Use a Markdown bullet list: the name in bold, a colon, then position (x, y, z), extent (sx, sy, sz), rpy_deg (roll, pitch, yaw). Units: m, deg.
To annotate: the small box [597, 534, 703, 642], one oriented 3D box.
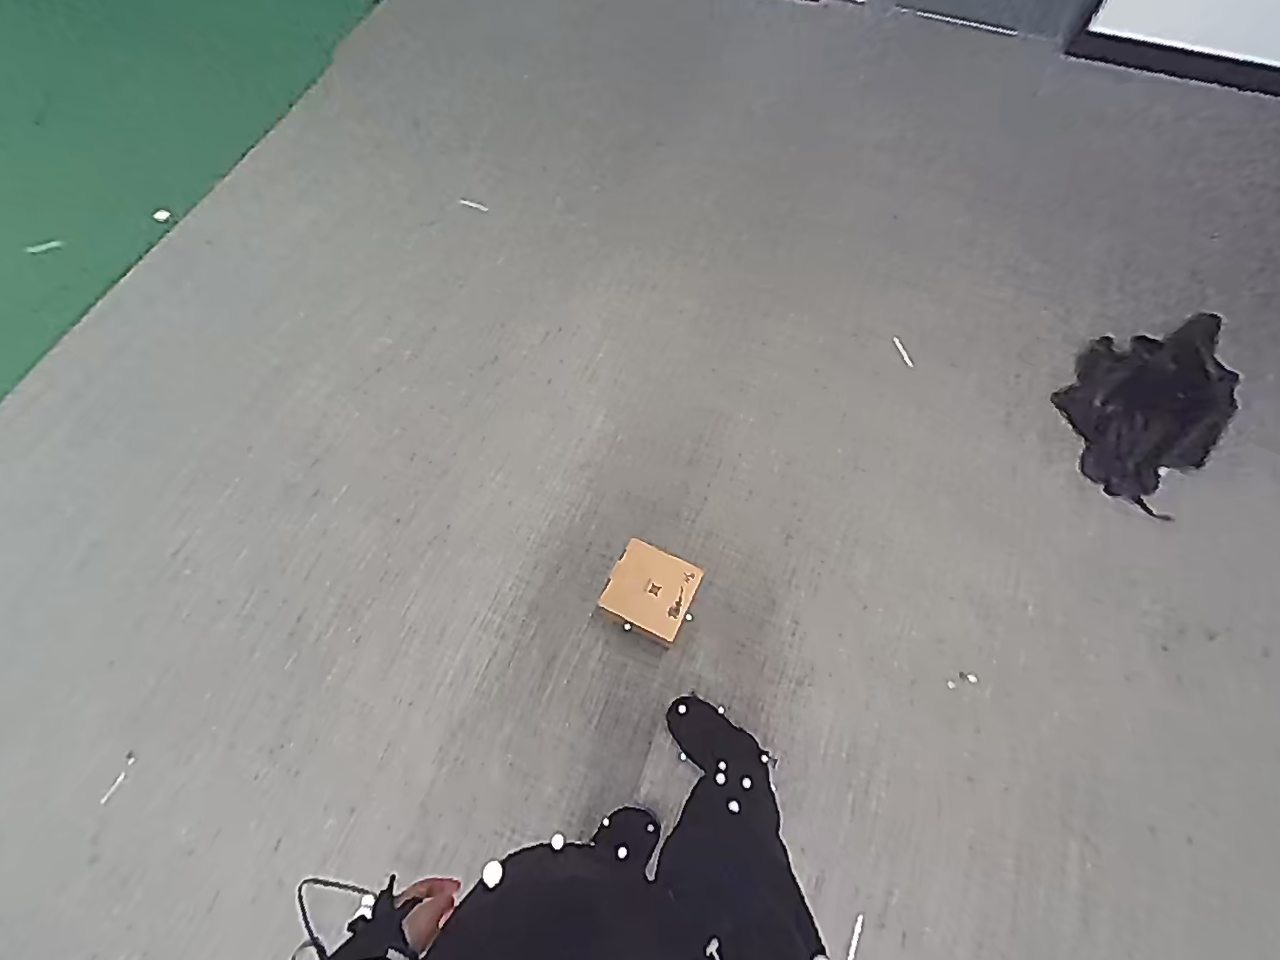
- **small box**: position (0.024, 0.248, 1.204), extent (0.179, 0.176, 0.168), rpy_deg (24, 71, 12)
